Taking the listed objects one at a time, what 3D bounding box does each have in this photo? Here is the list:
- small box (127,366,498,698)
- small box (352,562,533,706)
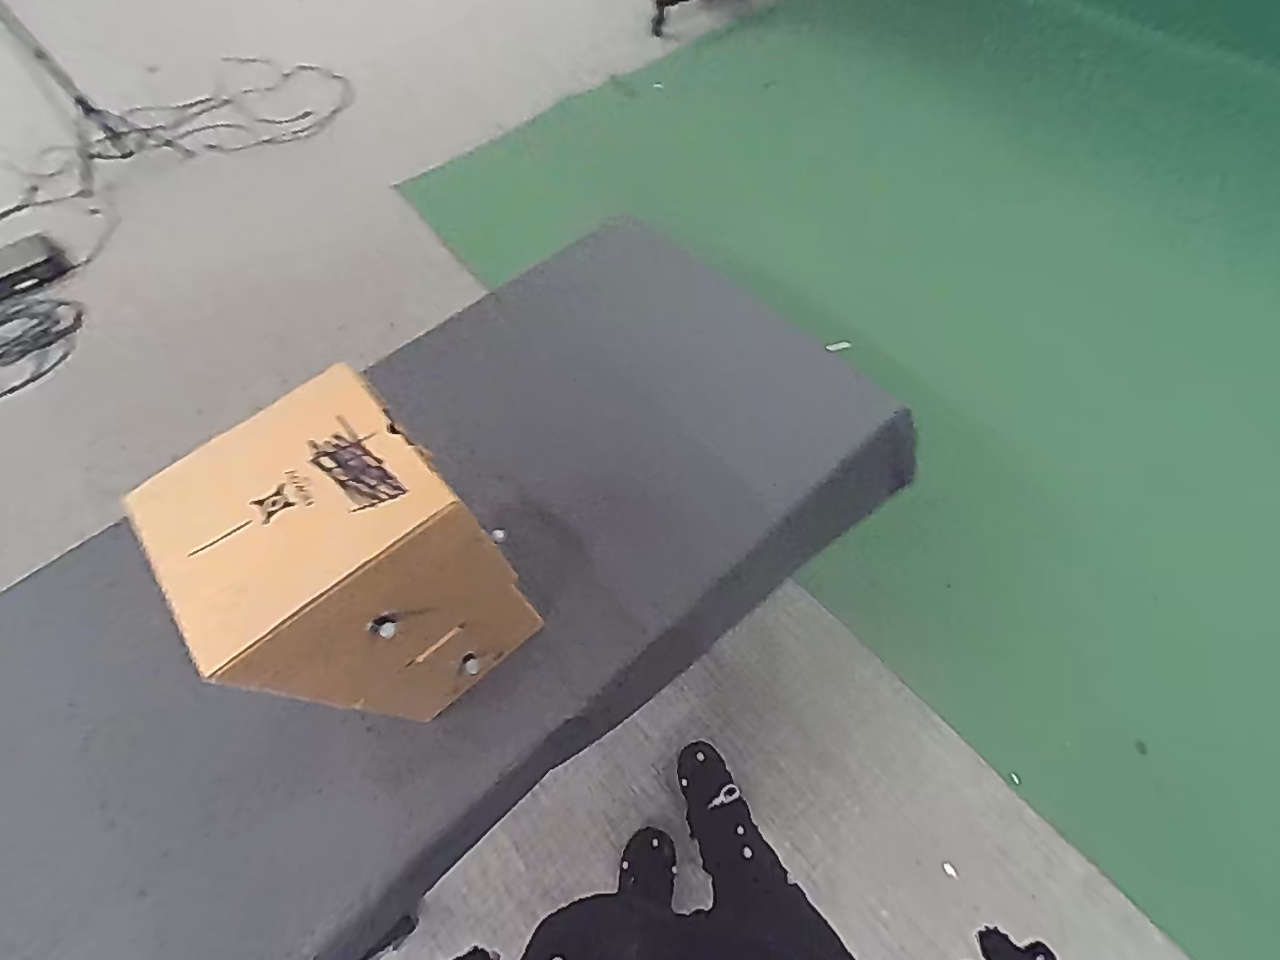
[{"bbox_3d":[-0.236,0.049,0.443,0.179,0.176,0.168,-41,68,-18],"label":"small box"},{"bbox_3d":[-0.240,0.123,0.590,0.168,0.176,0.179,-39,68,-16],"label":"small box"}]
